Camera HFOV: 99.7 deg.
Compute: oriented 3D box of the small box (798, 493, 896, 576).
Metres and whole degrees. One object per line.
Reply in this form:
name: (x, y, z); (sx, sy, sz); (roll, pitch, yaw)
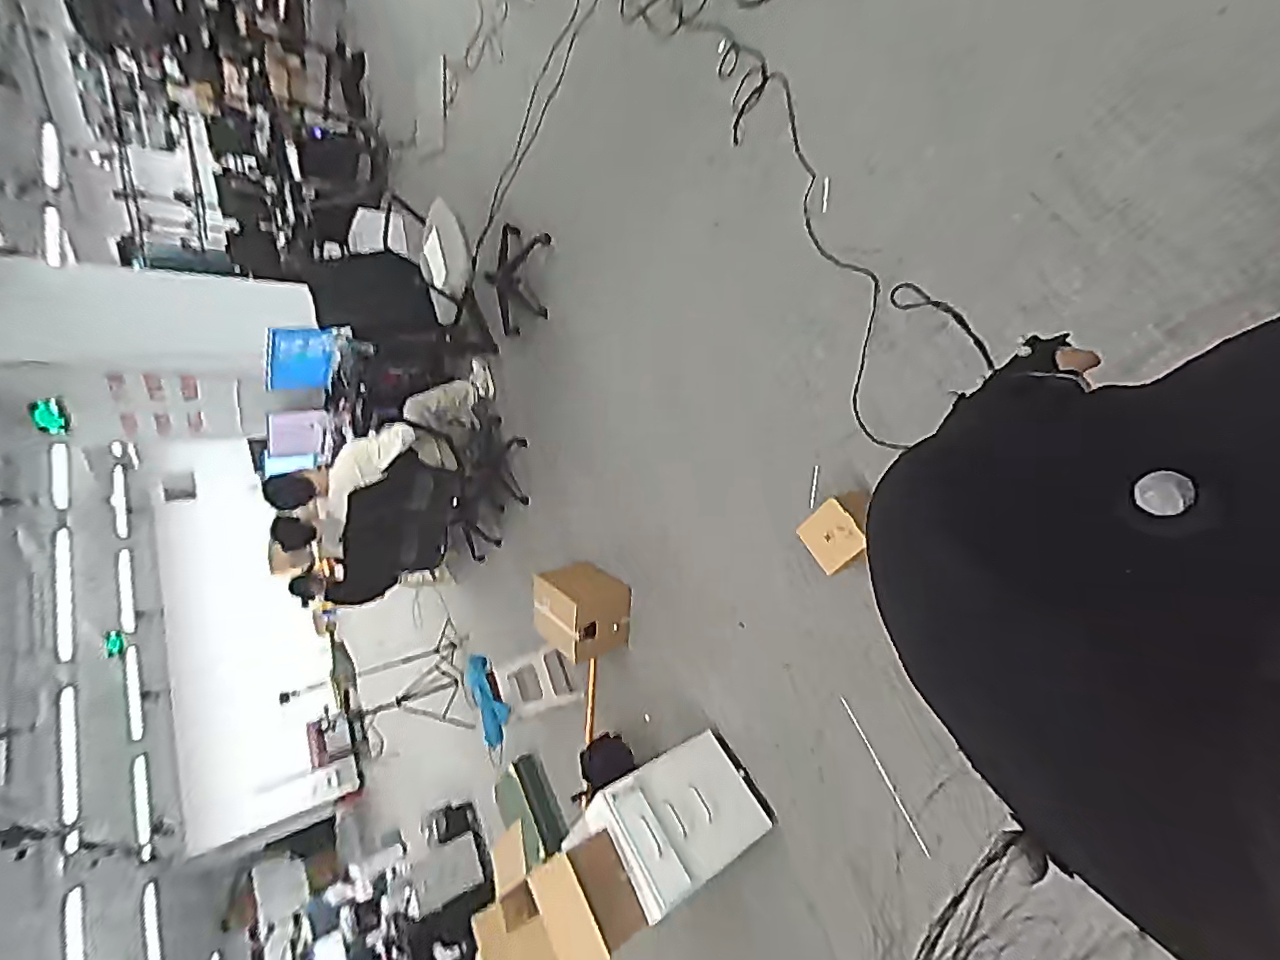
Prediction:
small box: (0.612, 0.159, 1.594); (0.168, 0.176, 0.179); (59, 136, 27)
